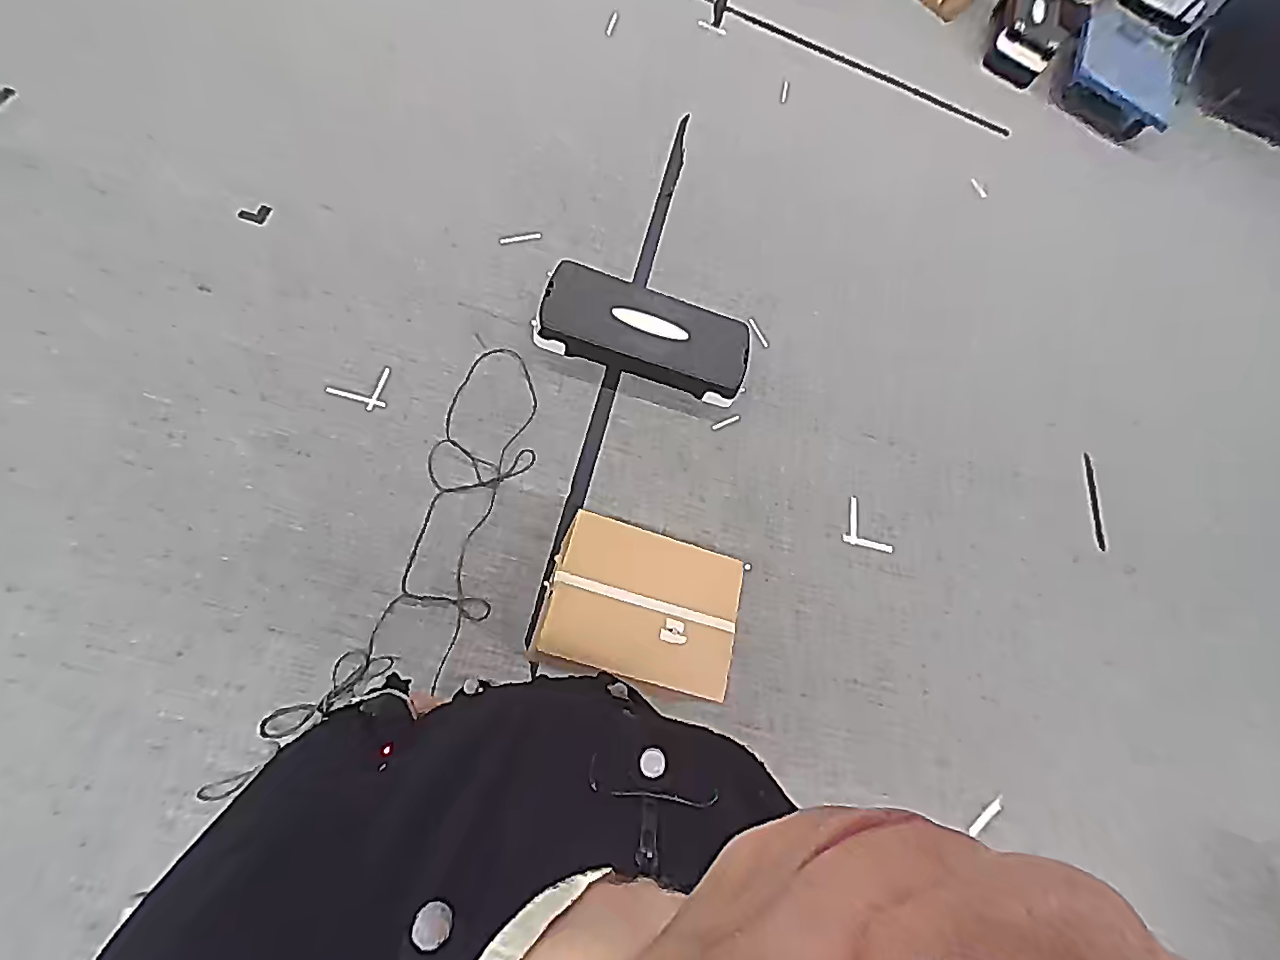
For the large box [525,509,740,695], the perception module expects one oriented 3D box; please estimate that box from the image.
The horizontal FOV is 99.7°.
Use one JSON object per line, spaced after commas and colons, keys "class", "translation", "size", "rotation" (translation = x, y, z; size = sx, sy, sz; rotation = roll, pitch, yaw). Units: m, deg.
{"class": "large box", "translation": [-0.027, 0.306, 1.281], "size": [0.408, 0.320, 0.320], "rotation": [19, 66, -9]}
